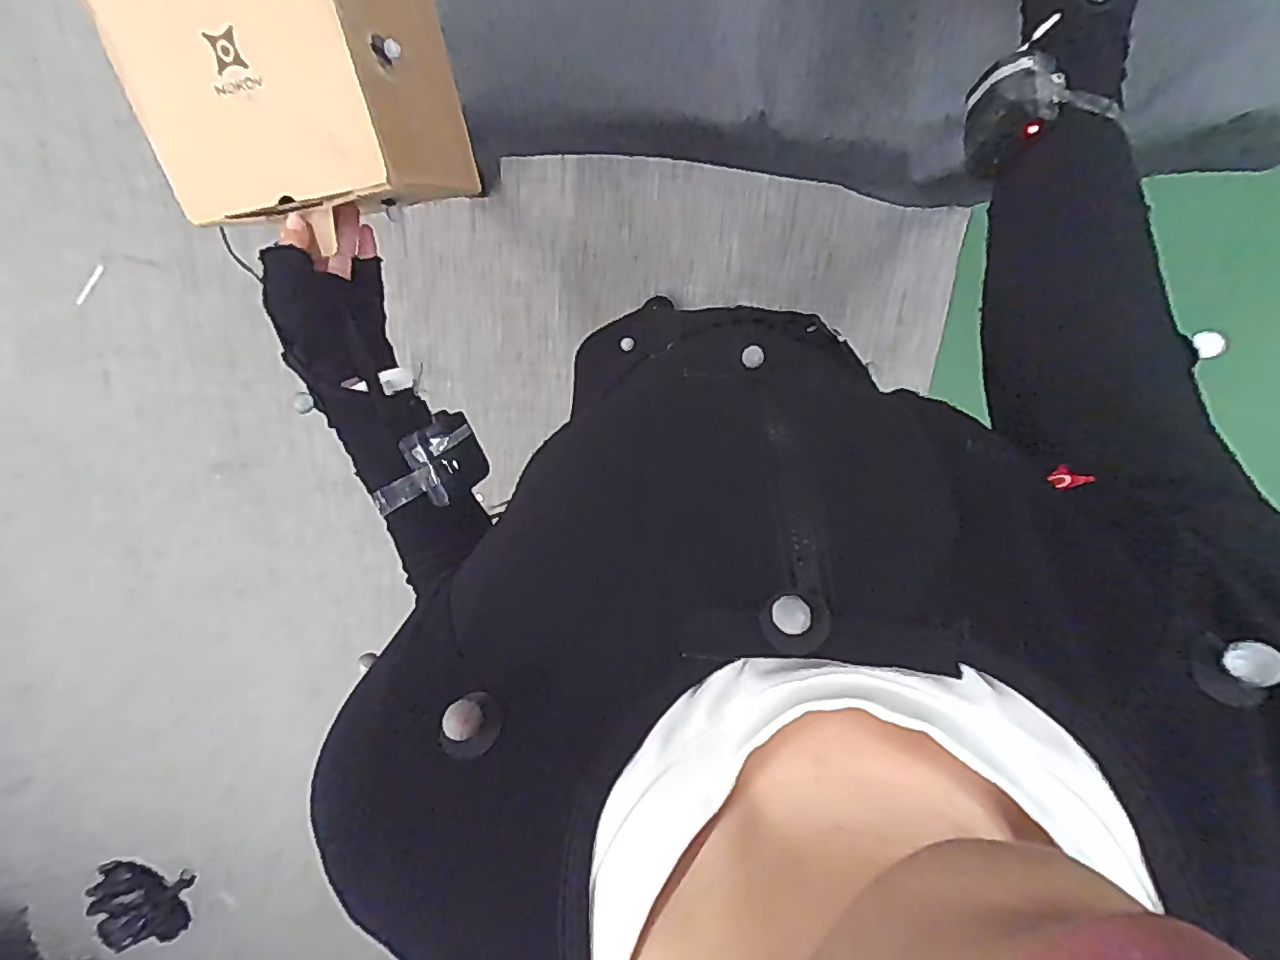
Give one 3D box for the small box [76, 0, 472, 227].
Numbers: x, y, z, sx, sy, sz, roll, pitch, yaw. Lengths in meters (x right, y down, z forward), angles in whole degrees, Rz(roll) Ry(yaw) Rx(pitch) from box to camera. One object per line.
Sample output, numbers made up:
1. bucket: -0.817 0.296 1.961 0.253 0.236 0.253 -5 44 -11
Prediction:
1. small box: -0.251 -0.303 0.409 0.168 0.176 0.179 -6 115 9
